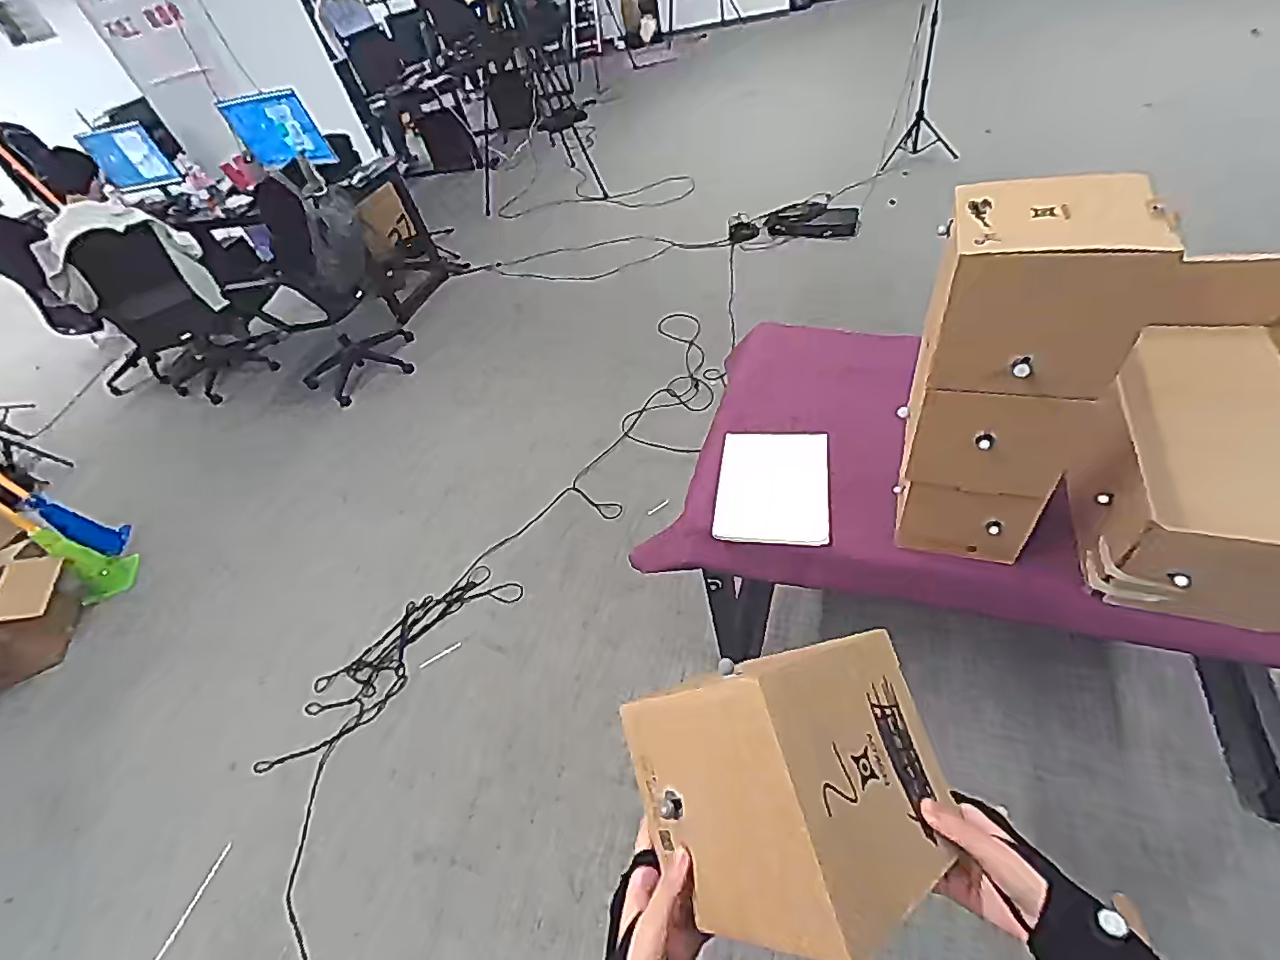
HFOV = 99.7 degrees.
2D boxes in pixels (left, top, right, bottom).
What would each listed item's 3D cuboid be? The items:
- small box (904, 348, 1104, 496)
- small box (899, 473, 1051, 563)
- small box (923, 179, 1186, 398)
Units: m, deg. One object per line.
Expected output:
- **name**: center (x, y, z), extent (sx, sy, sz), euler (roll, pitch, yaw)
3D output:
- **small box**: center (0.462, -0.098, 0.715), extent (0.179, 0.176, 0.168), euler (8, 50, 22)
- **small box**: center (0.504, 0.005, 0.836), extent (0.168, 0.176, 0.179), euler (8, 50, 22)
- **small box**: center (0.430, -0.208, 0.597), extent (0.179, 0.176, 0.168), euler (9, 50, 21)
